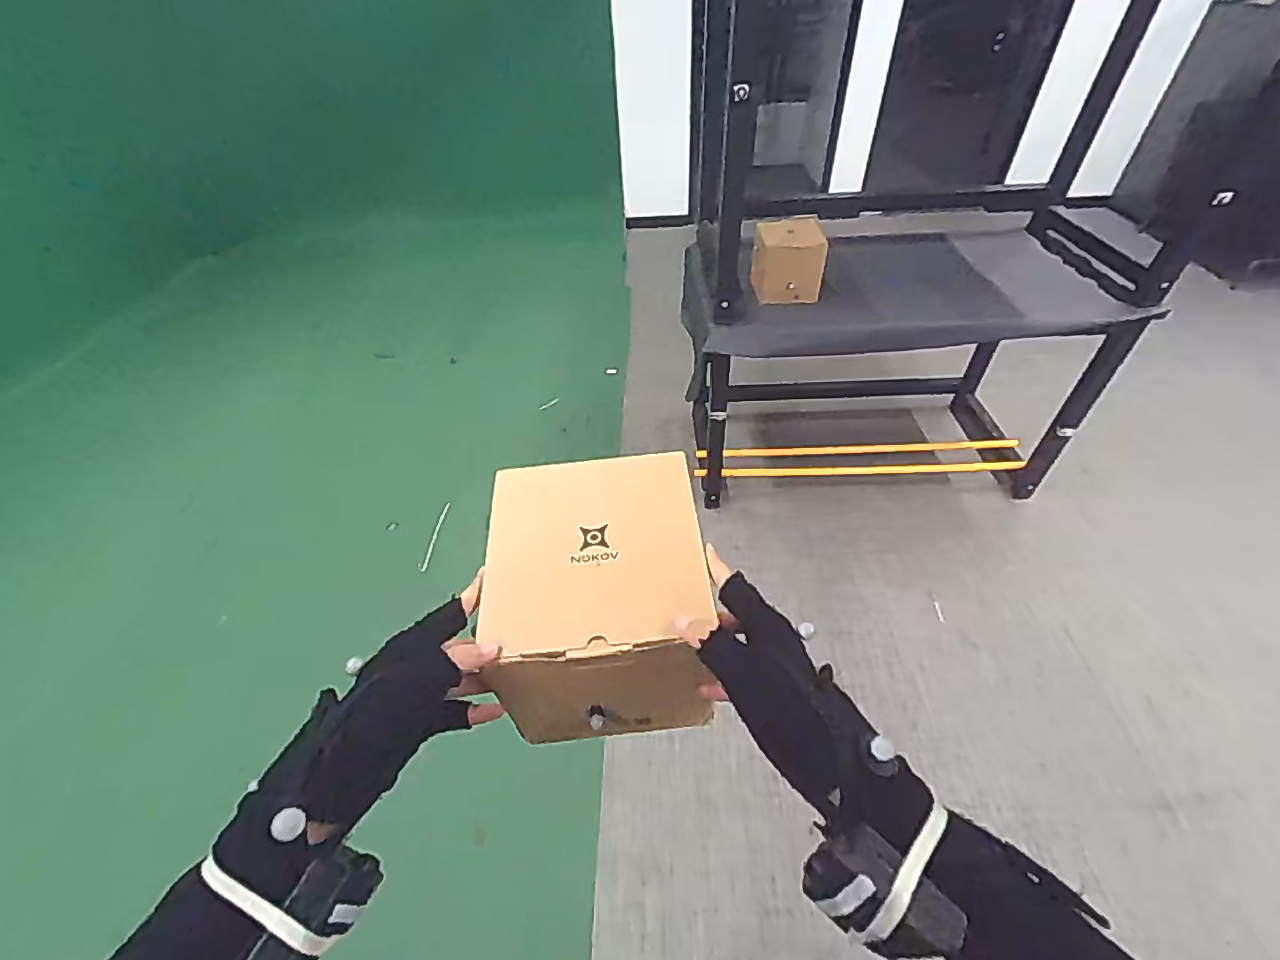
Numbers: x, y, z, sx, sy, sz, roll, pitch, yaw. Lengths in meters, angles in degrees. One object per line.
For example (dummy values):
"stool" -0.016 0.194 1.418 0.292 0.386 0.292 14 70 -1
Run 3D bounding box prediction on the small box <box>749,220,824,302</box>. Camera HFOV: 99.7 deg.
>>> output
"small box" 0.410 -0.627 1.550 0.168 0.176 0.179 -2 44 2
